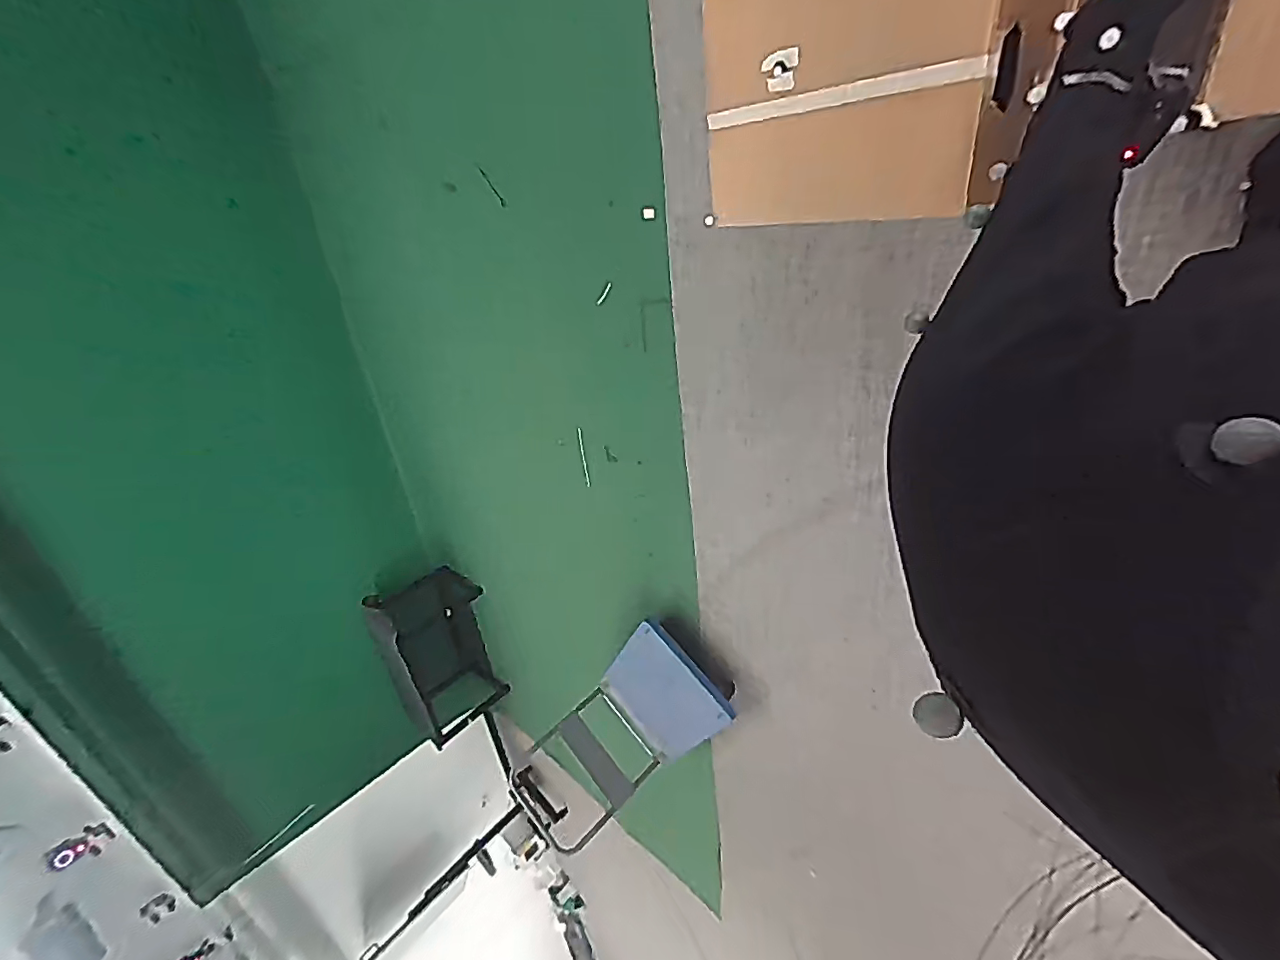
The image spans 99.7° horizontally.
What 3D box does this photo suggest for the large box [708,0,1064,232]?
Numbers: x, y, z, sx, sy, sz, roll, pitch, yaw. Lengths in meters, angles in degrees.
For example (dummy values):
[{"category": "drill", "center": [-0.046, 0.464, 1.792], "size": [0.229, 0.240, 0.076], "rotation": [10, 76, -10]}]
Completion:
[{"category": "large box", "center": [0.366, -0.585, 0.839], "size": [0.408, 0.320, 0.320], "rotation": [21, 130, 41]}]
